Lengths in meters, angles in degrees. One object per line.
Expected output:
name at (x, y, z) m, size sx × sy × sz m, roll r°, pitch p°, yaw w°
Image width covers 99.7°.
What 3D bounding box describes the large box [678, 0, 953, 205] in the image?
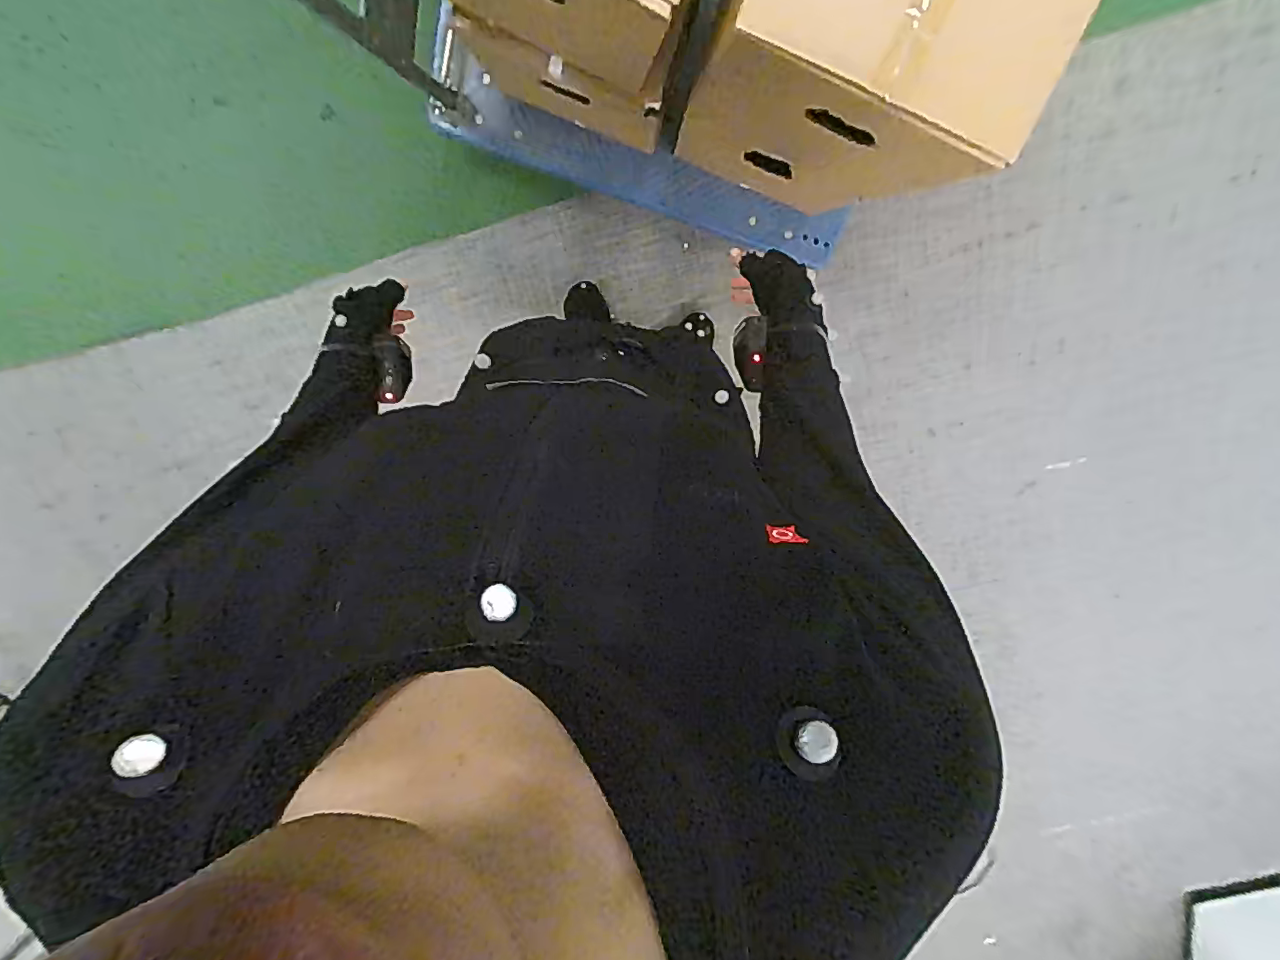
large box at (0.274, -0.722, 0.882) m, size 0.320 × 0.320 × 0.408 m, roll 19°, pitch 112°, yaw -5°
